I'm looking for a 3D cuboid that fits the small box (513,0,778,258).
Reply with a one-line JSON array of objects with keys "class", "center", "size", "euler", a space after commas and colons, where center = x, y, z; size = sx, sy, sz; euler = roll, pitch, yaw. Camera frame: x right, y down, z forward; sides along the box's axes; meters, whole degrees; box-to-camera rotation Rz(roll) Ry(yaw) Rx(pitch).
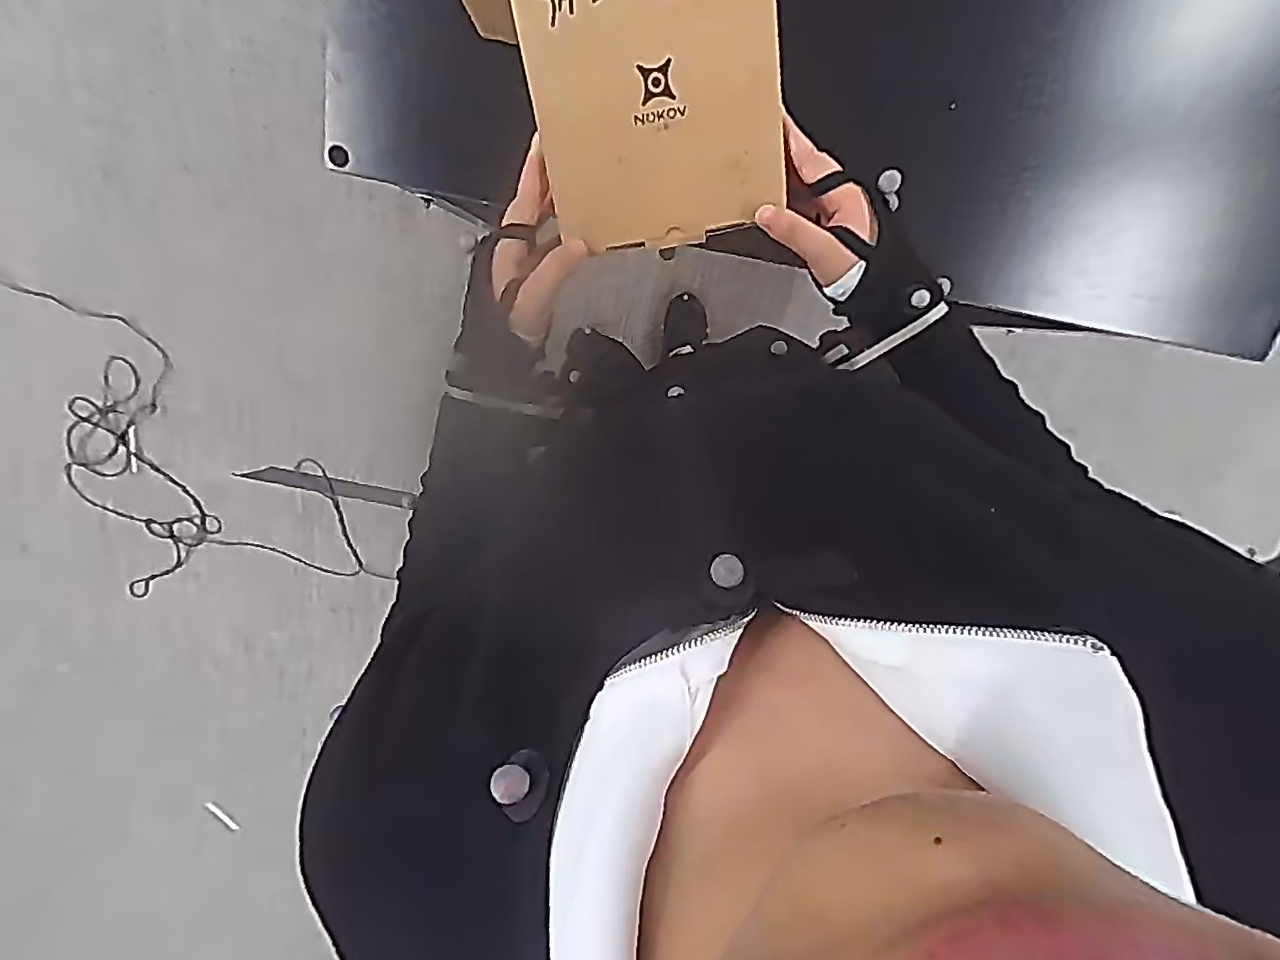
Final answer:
[{"class": "small box", "center": [0.009, -0.292, 0.440], "size": [0.168, 0.176, 0.179], "euler": [-9, 115, 3]}]
